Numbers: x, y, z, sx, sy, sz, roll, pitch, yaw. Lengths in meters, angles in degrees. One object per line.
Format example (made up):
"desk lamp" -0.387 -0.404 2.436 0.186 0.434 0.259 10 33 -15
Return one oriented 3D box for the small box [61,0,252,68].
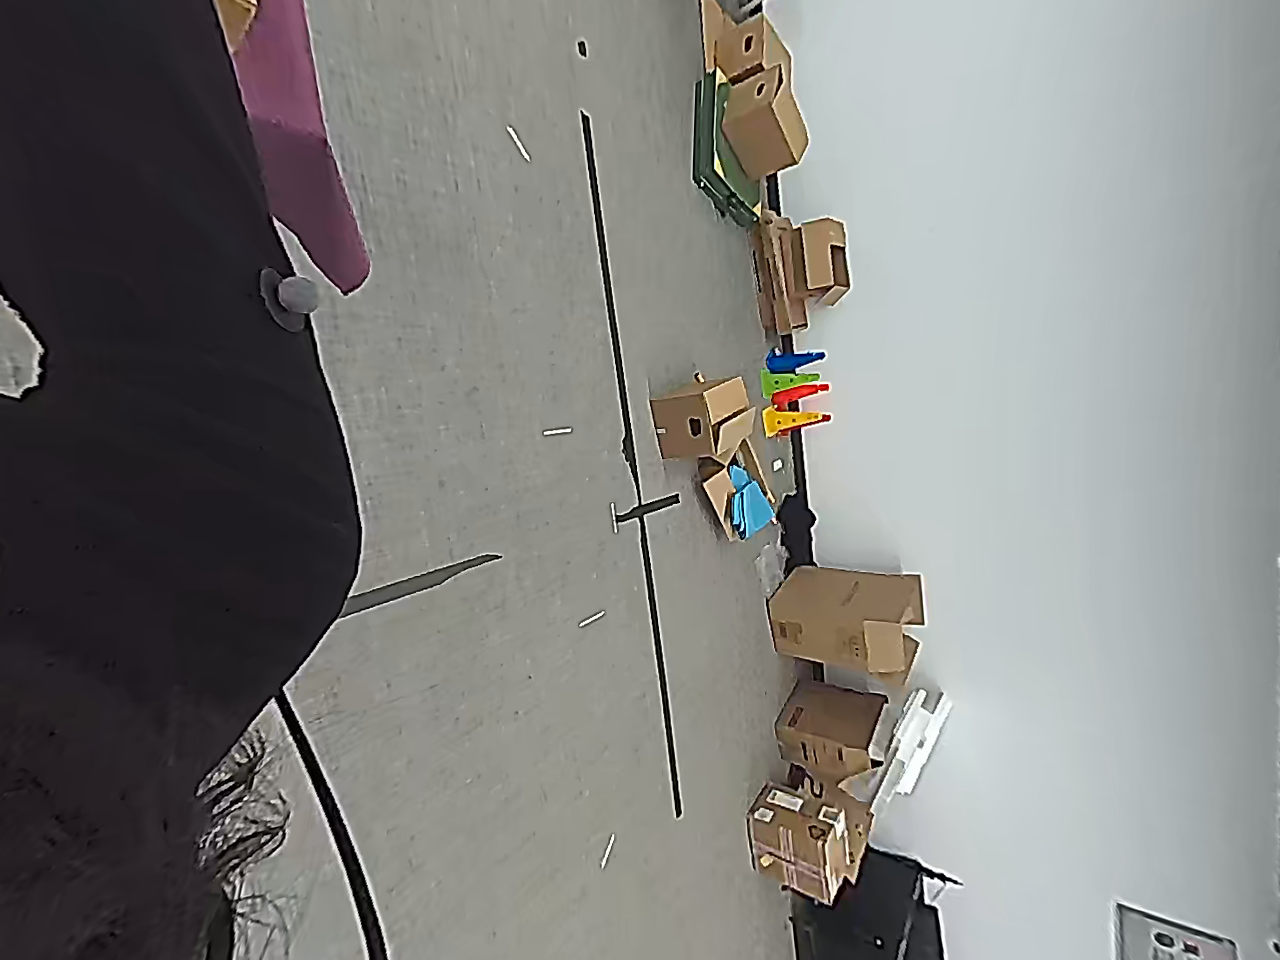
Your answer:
"small box" -0.536 -0.598 0.573 0.168 0.176 0.179 -3 90 -54
